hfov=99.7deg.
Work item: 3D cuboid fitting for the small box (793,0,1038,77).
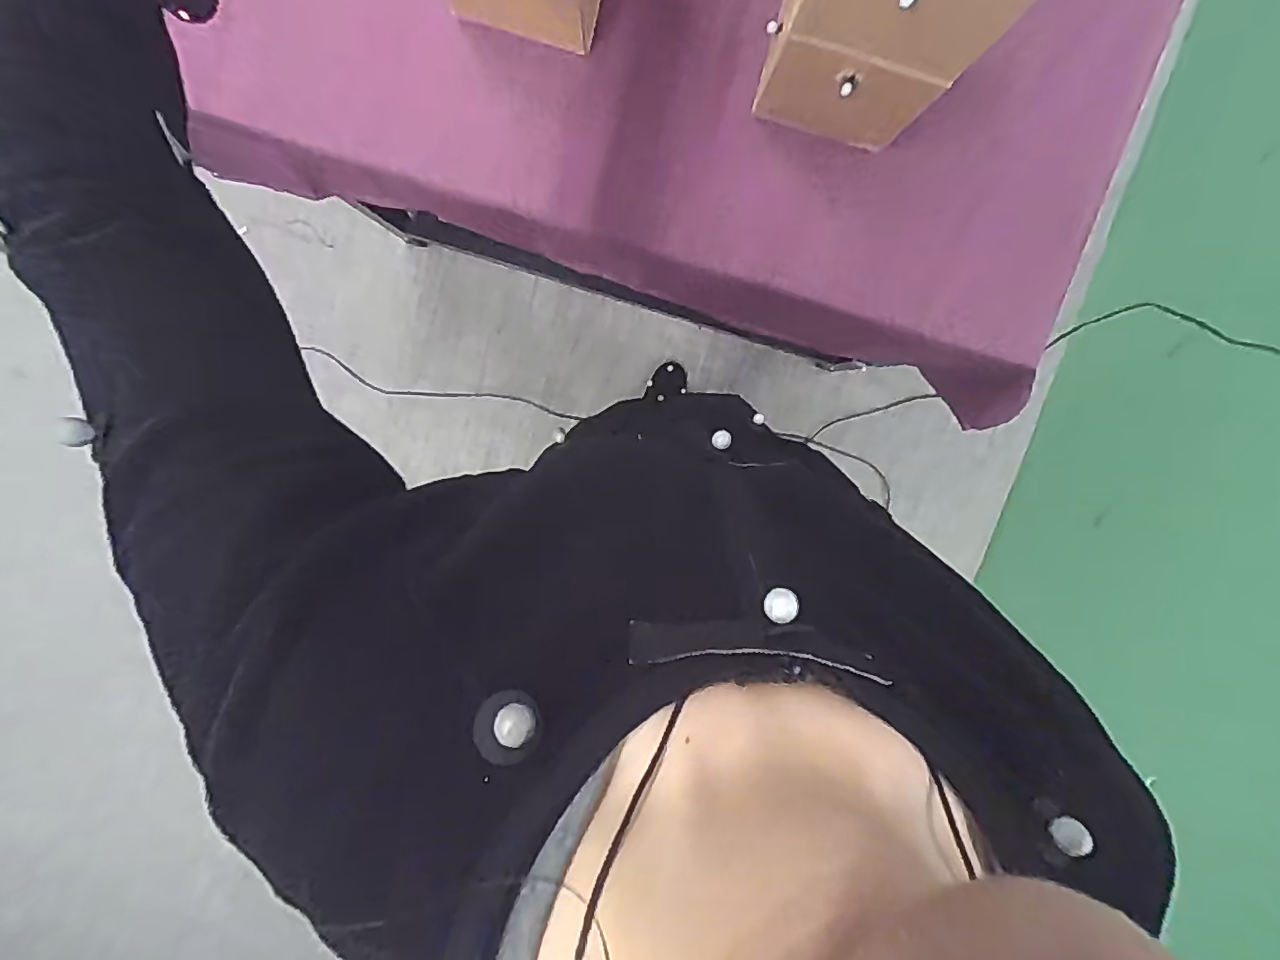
[{"bbox_3d":[0.251,-0.478,0.445,0.179,0.176,0.168,15,99,-2],"label":"small box"}]

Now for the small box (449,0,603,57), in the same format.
[{"bbox_3d":[-0.127,-0.611,0.587,0.179,0.176,0.168,14,98,-4],"label":"small box"}]

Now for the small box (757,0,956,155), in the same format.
[{"bbox_3d":[0.249,-0.502,0.607,0.179,0.176,0.168,16,99,-4],"label":"small box"}]
